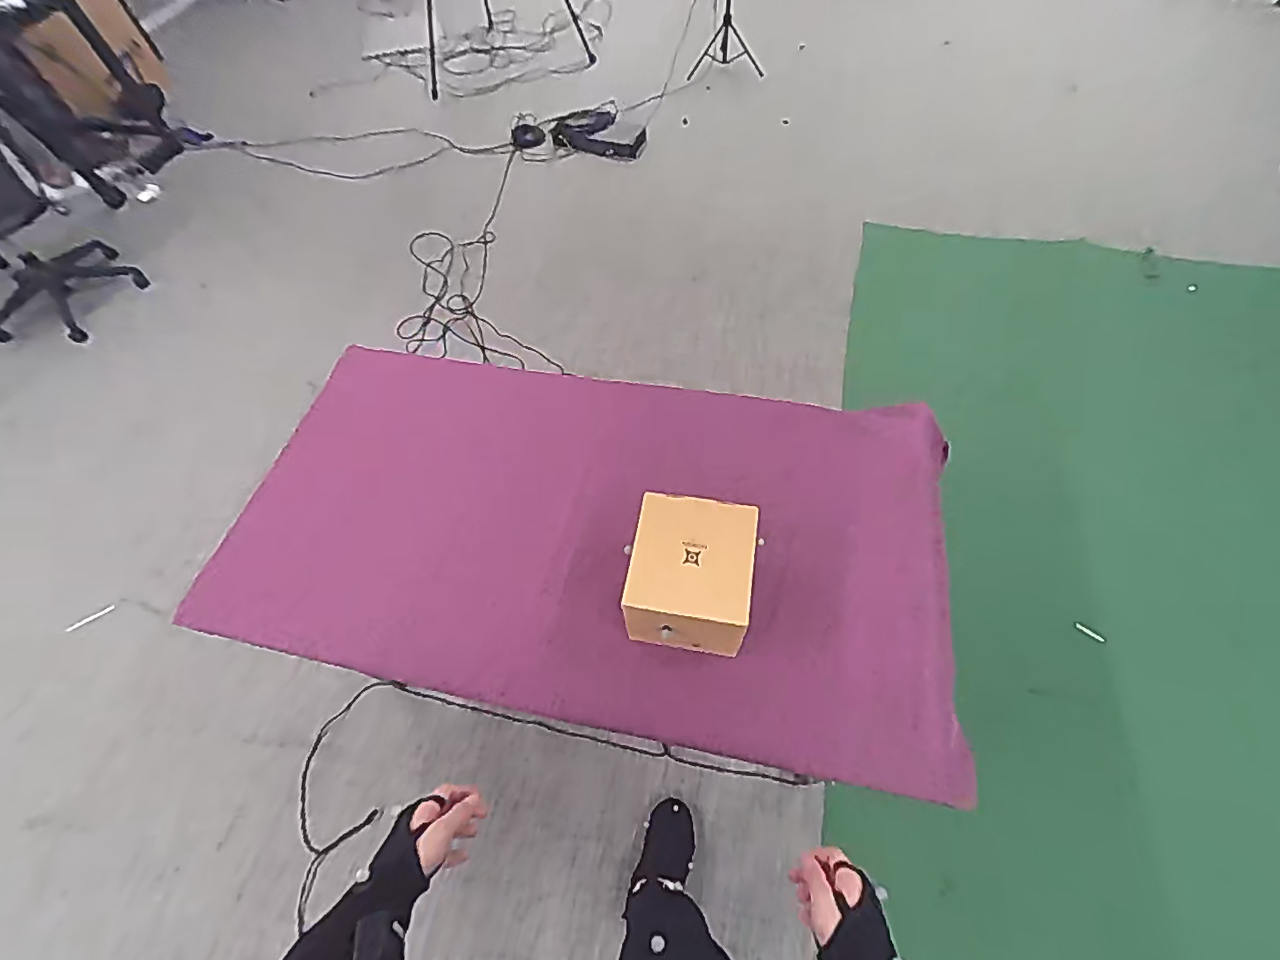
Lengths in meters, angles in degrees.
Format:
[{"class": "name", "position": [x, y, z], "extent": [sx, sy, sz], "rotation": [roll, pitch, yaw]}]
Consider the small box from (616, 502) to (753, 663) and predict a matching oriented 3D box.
[{"class": "small box", "position": [0.070, 0.156, 0.797], "extent": [0.168, 0.176, 0.179], "rotation": [7, 58, 9]}]
